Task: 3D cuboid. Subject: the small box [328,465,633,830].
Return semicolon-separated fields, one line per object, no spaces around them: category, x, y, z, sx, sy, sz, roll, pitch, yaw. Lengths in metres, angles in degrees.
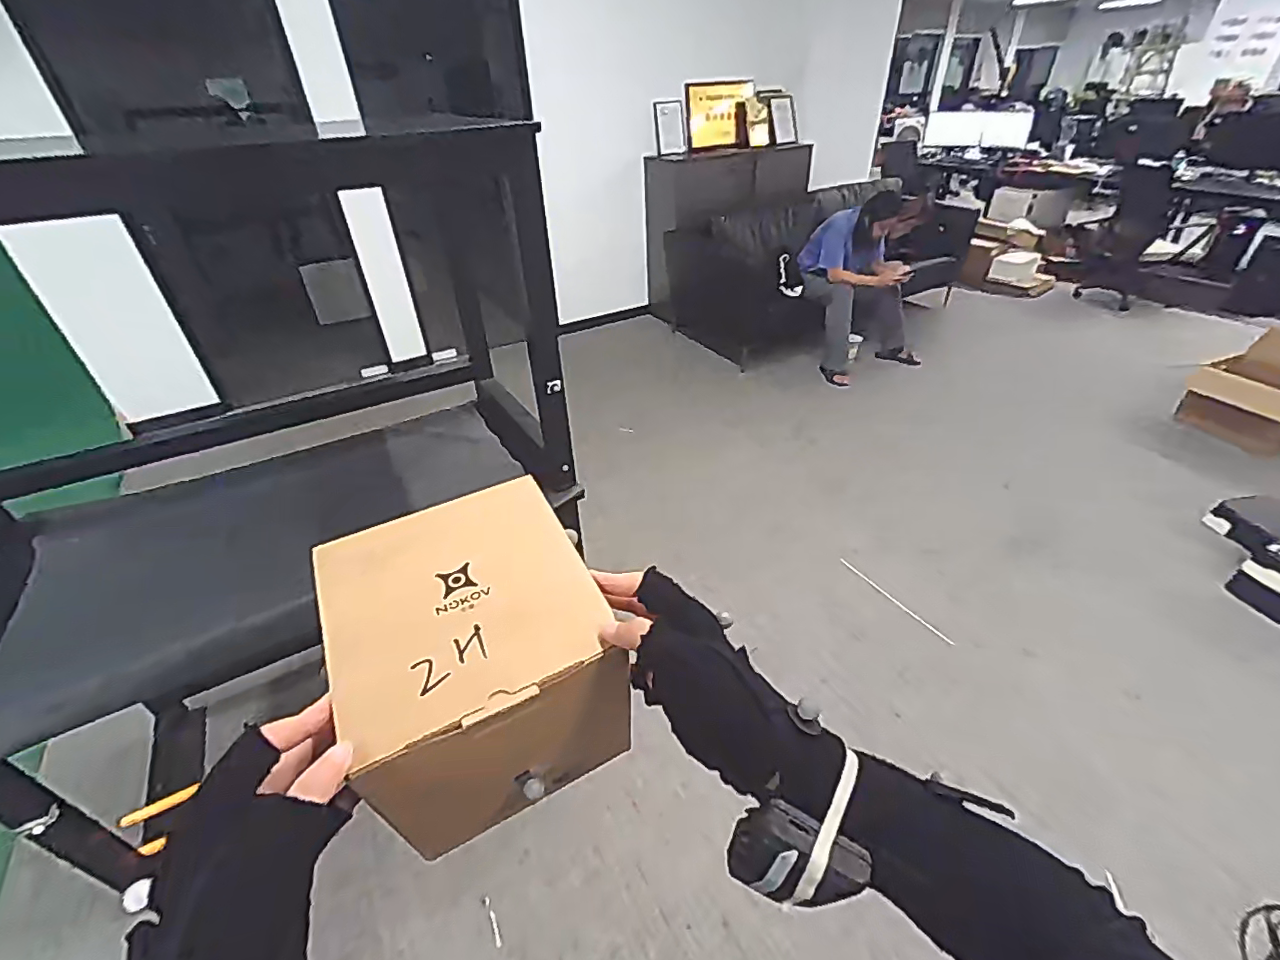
small box;-0.116;0.122;0.417;0.168;0.176;0.179;-20;46;-20
